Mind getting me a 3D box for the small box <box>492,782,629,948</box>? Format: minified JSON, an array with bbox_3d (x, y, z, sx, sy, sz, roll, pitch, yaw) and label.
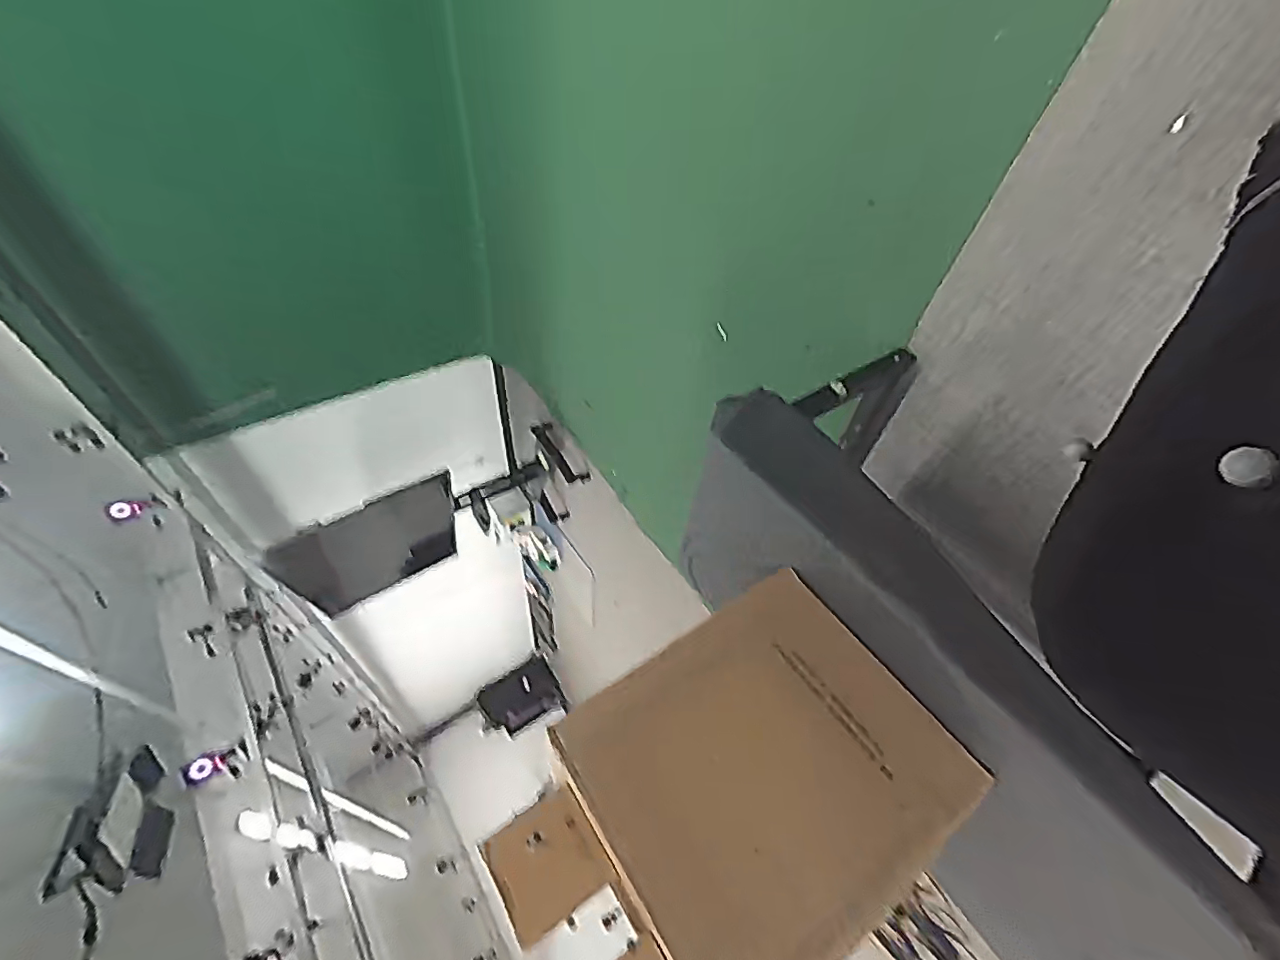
[{"bbox_3d":[-0.133,0.654,0.928,0.168,0.176,0.179,50,151,30],"label":"small box"}]
